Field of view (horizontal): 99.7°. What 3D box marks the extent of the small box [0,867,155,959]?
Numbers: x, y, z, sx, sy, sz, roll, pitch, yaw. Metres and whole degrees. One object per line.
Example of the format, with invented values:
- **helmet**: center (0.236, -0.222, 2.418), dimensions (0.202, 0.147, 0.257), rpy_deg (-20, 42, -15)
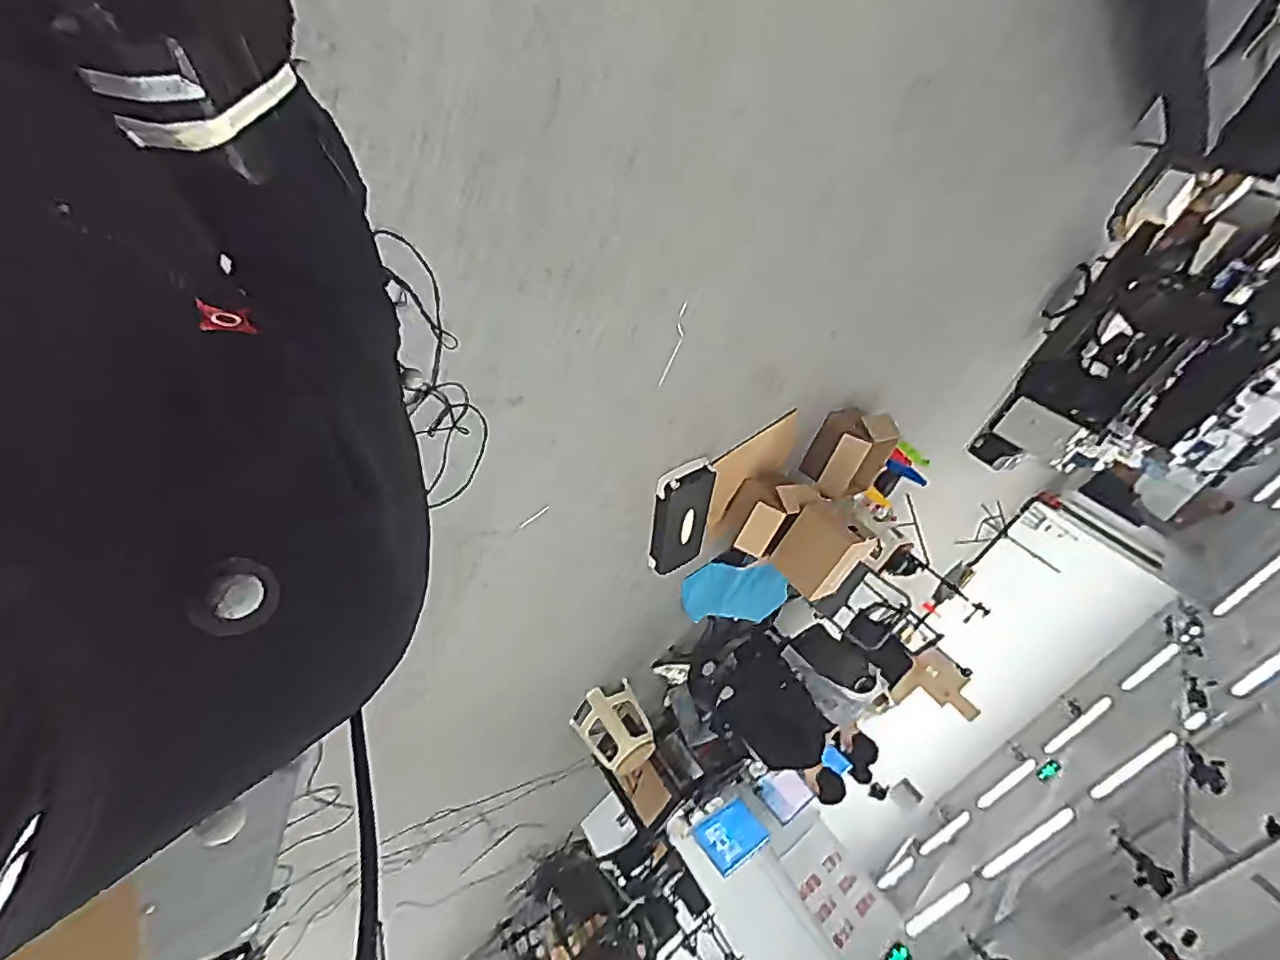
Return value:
- **small box**: center (-0.859, 0.745, 0.819), dimensions (0.179, 0.176, 0.168), rpy_deg (-3, 130, -45)
